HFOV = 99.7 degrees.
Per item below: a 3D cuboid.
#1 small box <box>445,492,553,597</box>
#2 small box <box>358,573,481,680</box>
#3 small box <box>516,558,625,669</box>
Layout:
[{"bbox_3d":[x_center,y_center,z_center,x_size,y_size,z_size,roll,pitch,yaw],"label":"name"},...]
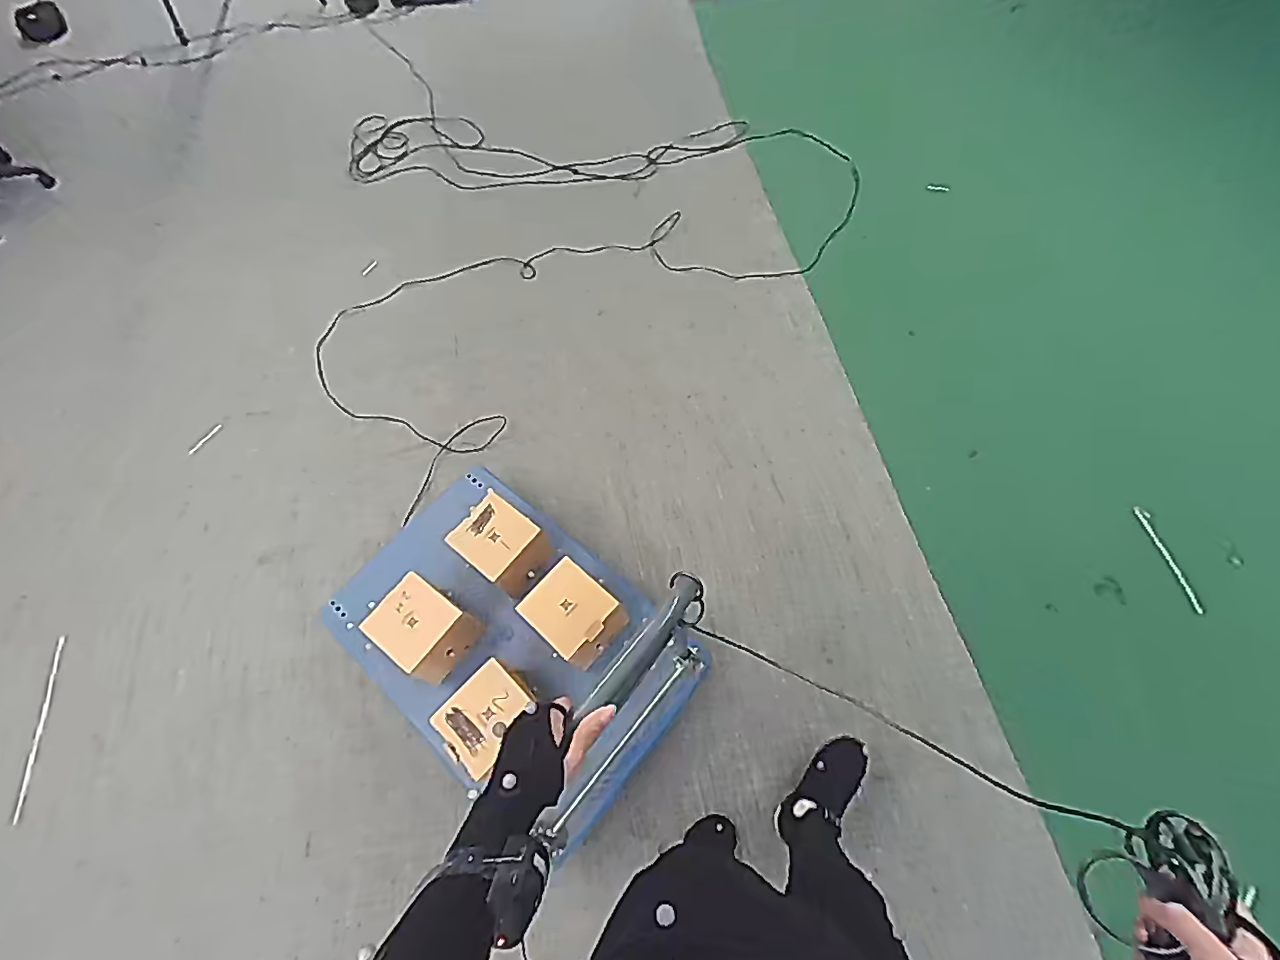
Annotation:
[{"bbox_3d":[-0.345,0.168,1.353,0.179,0.176,0.168,35,71,19],"label":"small box"},{"bbox_3d":[-0.507,0.351,1.272,0.179,0.176,0.168,33,69,19],"label":"small box"},{"bbox_3d":[-0.155,0.317,1.263,0.179,0.176,0.168,37,72,20],"label":"small box"}]
